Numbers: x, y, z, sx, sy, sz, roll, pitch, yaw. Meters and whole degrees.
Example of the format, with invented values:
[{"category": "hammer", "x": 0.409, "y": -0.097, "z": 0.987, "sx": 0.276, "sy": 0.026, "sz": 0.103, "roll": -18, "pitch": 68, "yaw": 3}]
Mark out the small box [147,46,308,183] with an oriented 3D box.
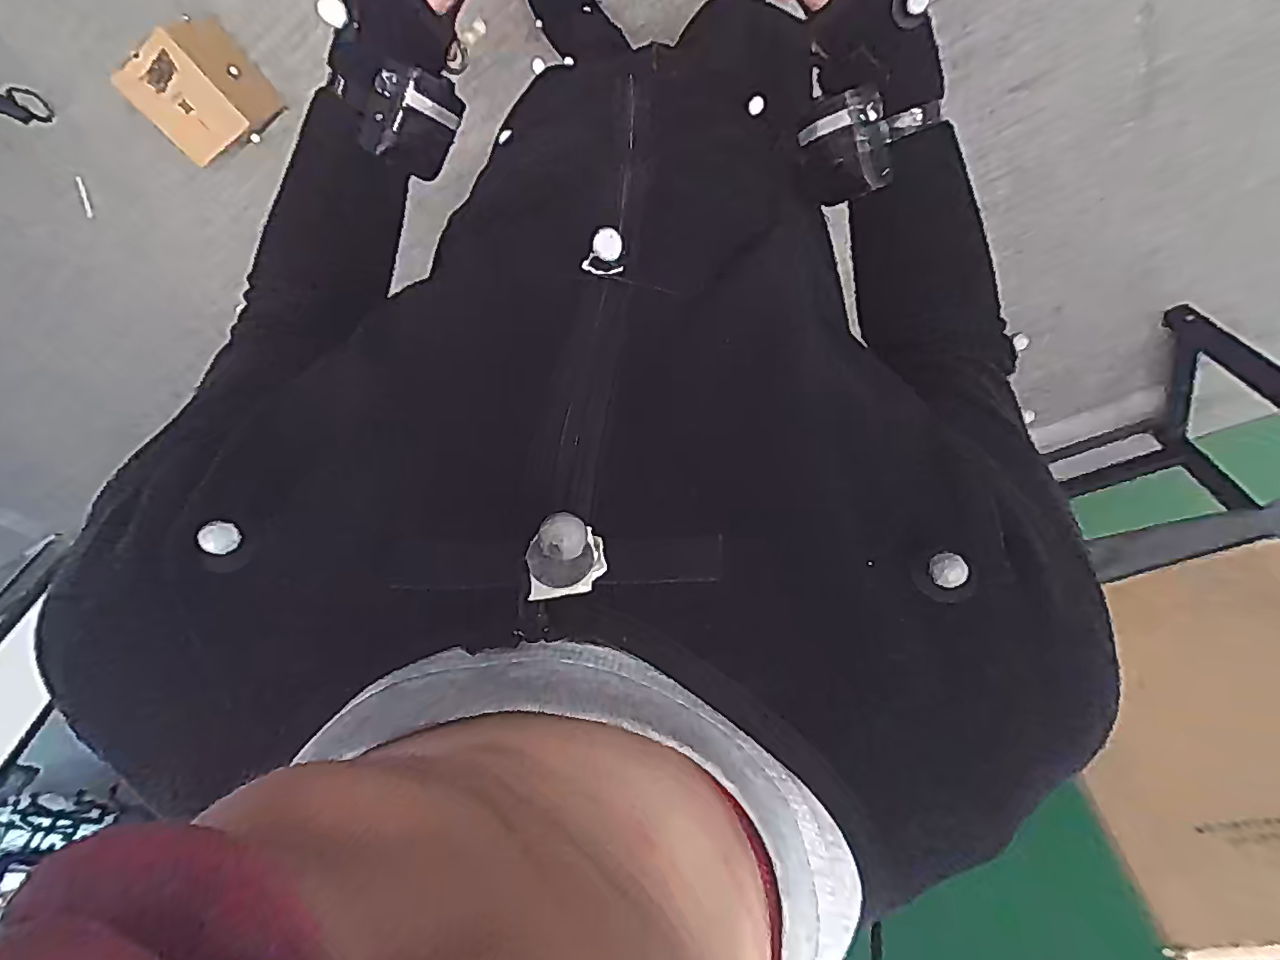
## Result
[{"category": "small box", "x": -0.856, "y": -0.774, "z": 1.139, "sx": 0.168, "sy": 0.176, "sz": 0.179, "roll": -21, "pitch": 132, "yaw": 21}]
